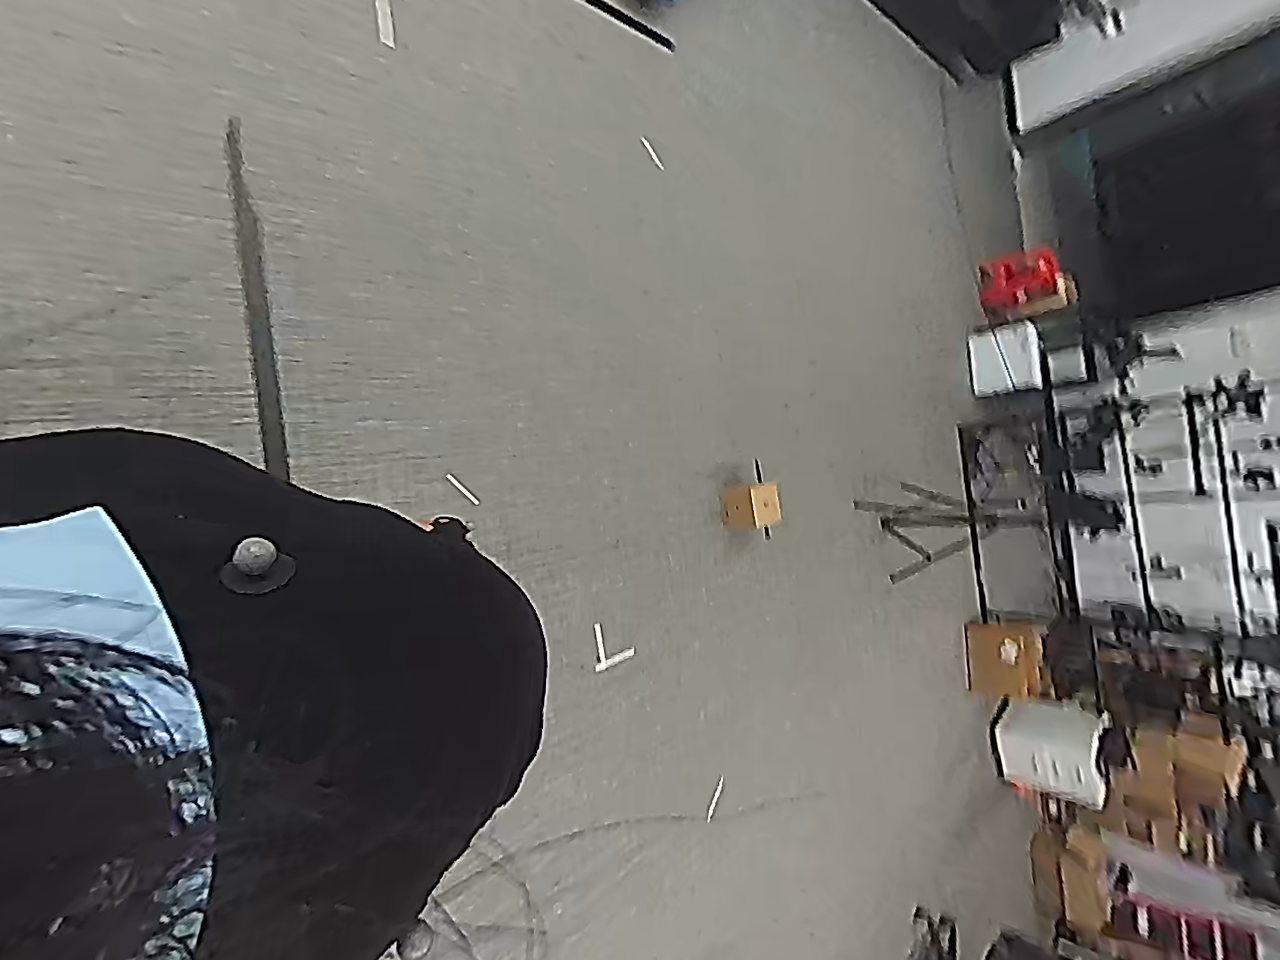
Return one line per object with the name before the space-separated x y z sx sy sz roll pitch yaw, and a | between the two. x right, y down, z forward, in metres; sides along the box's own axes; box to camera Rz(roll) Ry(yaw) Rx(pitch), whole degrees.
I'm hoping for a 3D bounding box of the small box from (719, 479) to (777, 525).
small box | 0.450 0.095 2.284 0.179 0.176 0.168 -11 93 -41
